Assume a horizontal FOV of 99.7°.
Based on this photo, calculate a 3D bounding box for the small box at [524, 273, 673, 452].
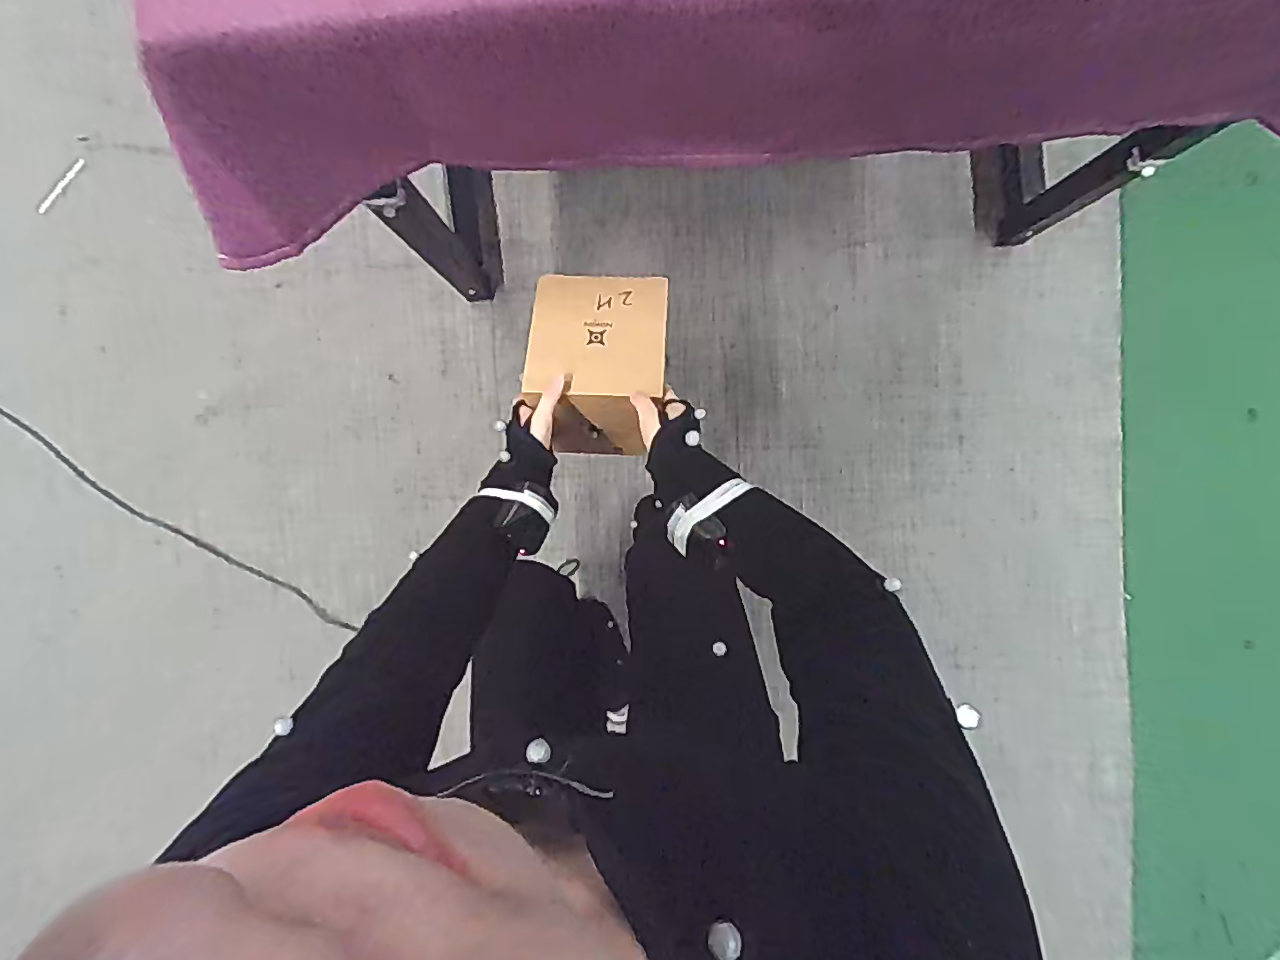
[{"bbox_3d":[-0.044,-0.153,0.740,0.168,0.176,0.179,5,66,5],"label":"small box"}]
